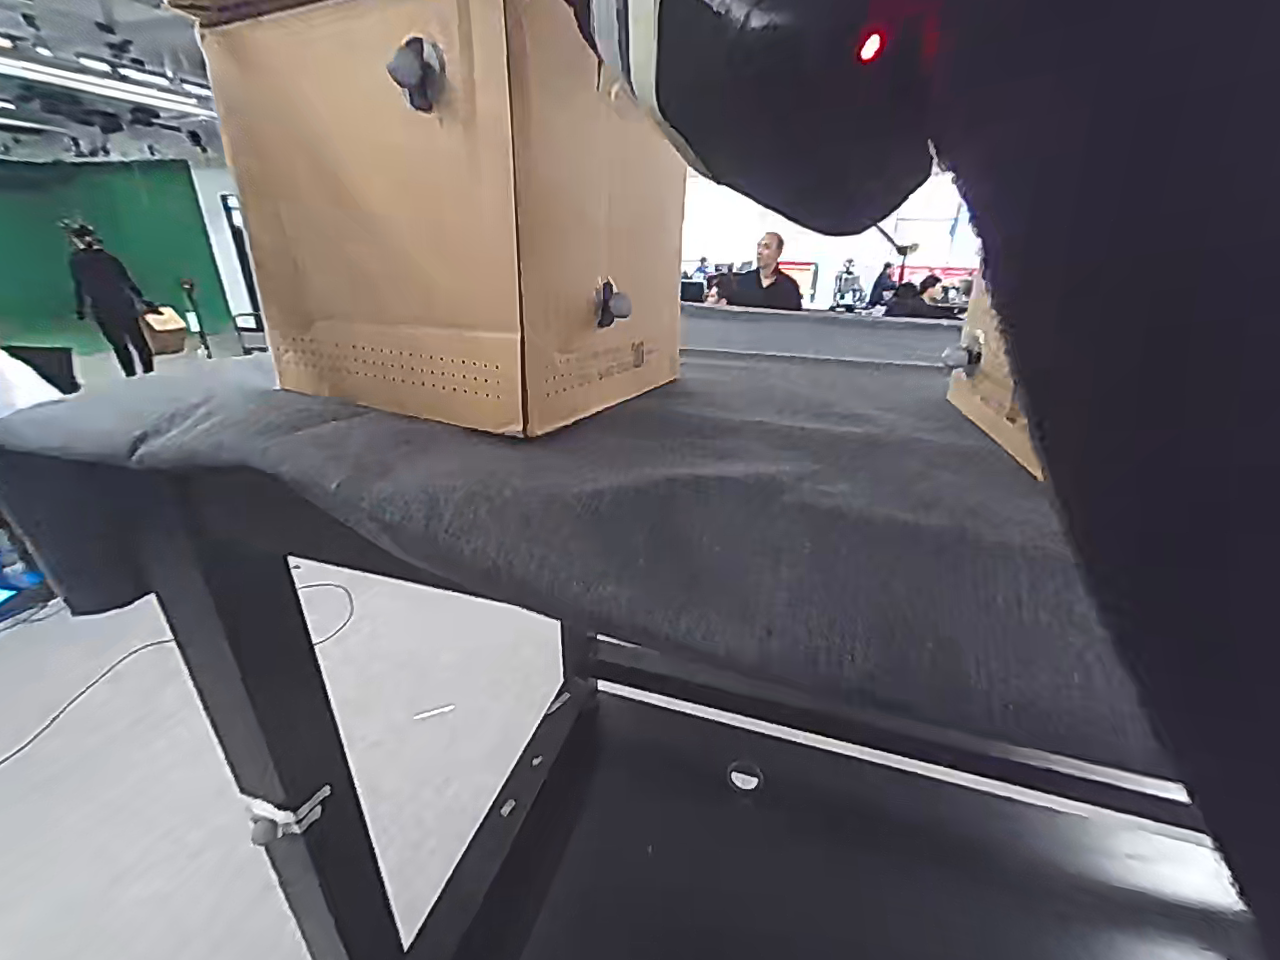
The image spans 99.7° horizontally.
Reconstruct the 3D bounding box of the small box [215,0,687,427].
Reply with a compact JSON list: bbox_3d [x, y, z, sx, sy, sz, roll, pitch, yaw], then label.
[{"bbox_3d":[-0.087,-0.134,0.308,0.179,0.176,0.168,12,24,23],"label":"small box"}]

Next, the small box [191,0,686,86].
[{"bbox_3d":[-0.086,-0.282,0.236,0.179,0.176,0.168,12,24,23],"label":"small box"}]
